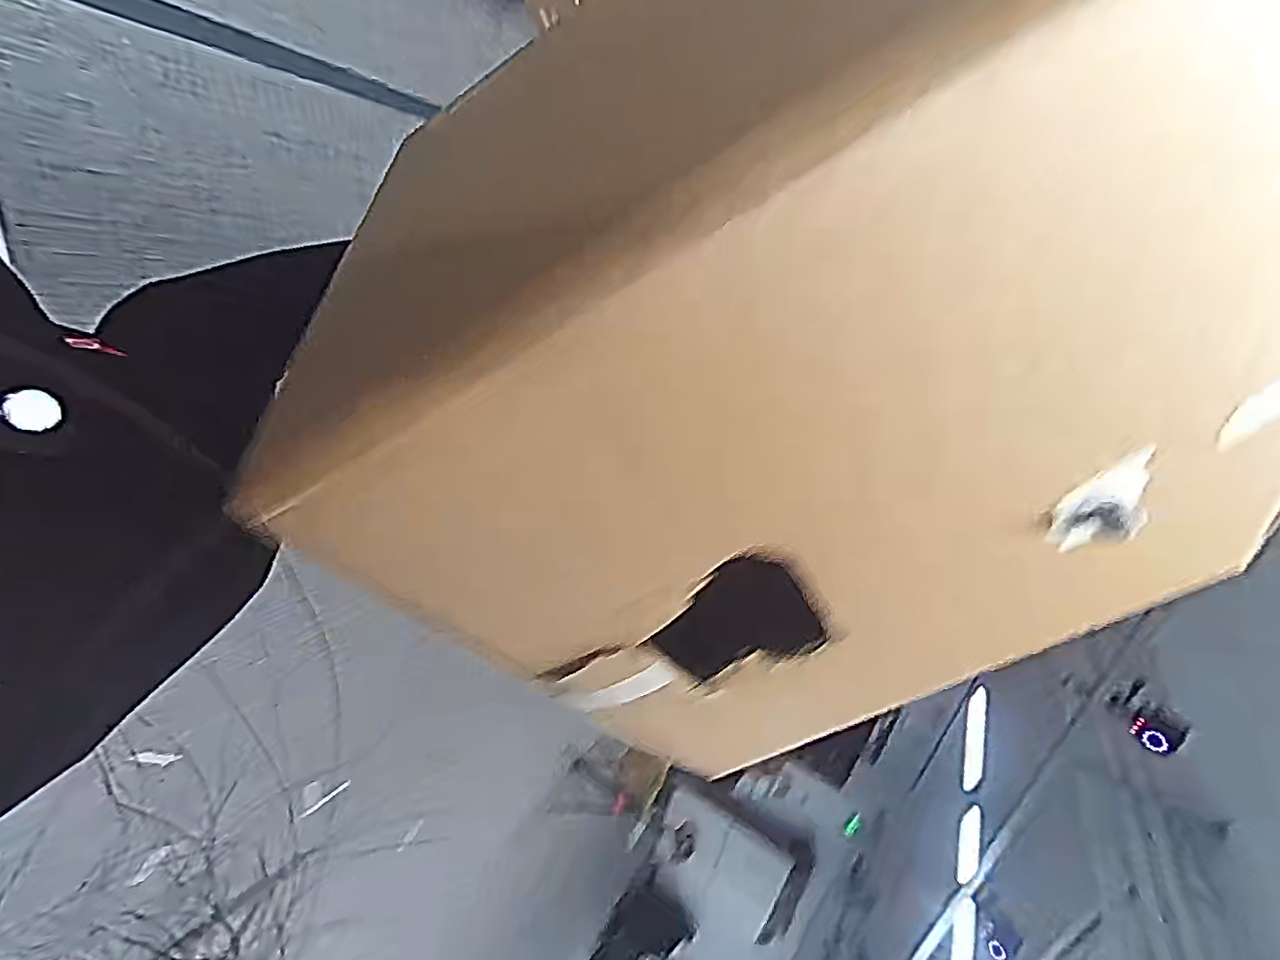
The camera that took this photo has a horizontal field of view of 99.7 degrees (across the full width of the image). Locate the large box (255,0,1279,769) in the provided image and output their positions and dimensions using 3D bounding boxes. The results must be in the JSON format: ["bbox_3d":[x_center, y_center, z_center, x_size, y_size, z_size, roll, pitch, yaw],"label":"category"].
[{"bbox_3d":[0.060,-0.106,0.354,0.320,0.408,0.320,-28,132,10],"label":"large box"}]
